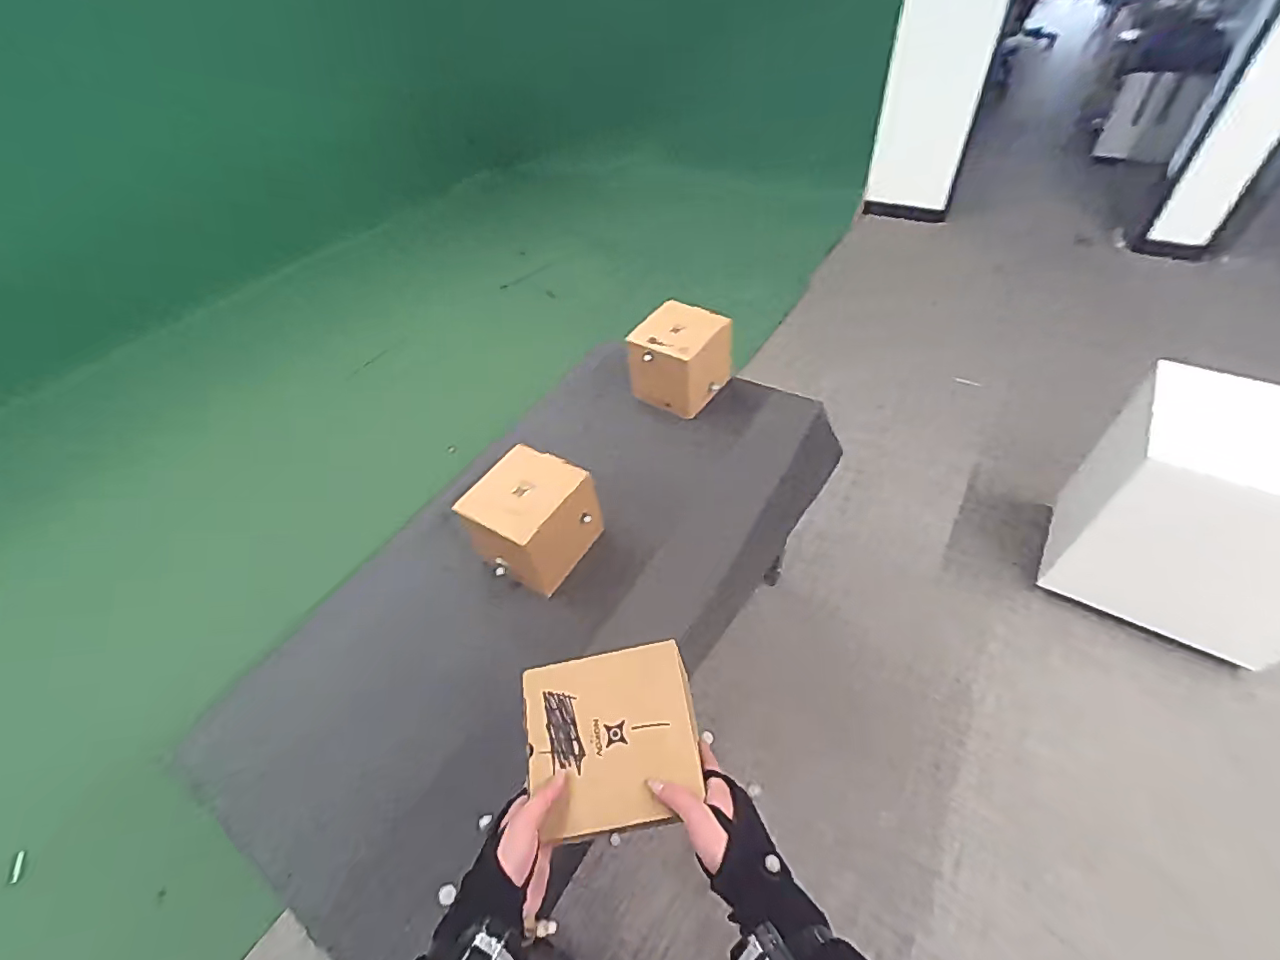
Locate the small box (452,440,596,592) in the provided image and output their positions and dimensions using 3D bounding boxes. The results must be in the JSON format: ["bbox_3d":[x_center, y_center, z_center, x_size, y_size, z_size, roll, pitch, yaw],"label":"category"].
[{"bbox_3d":[-0.192,0.064,0.961,0.168,0.176,0.179,22,56,24],"label":"small box"}]

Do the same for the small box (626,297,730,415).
[{"bbox_3d":[0.086,-0.281,1.228,0.168,0.176,0.179,27,57,25],"label":"small box"}]

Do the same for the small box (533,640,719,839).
[{"bbox_3d":[-0.011,0.299,0.614,0.179,0.176,0.168,-11,57,1],"label":"small box"}]
